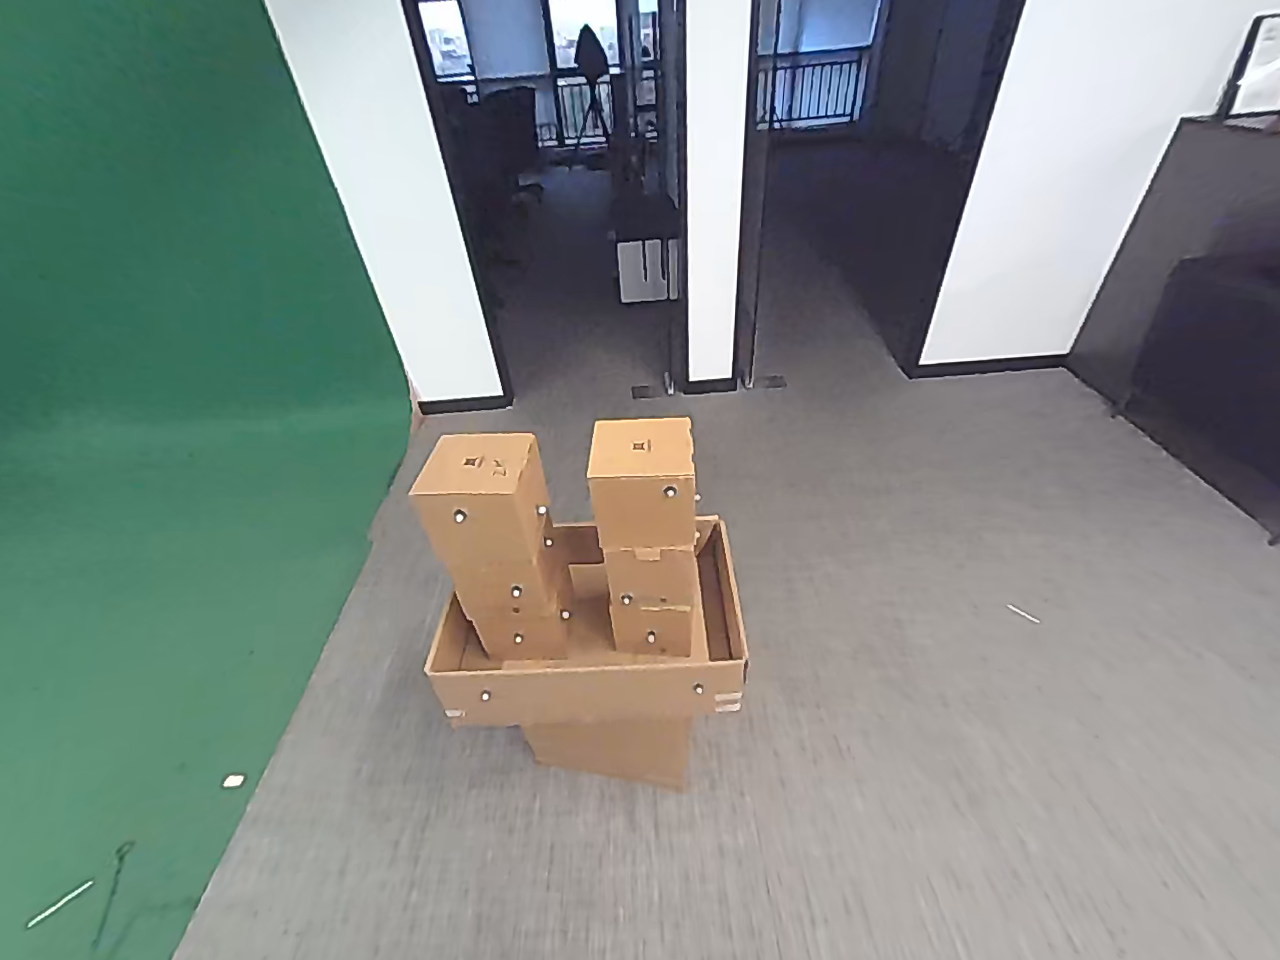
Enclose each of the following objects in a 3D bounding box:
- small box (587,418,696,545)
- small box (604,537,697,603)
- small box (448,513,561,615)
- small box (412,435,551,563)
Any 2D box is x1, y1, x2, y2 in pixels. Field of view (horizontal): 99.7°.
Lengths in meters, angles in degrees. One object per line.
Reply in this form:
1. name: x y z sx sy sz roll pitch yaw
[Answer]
1. small box: 0.010 0.005 0.976 0.179 0.176 0.168 -2 40 4
2. small box: 0.027 0.130 1.079 0.168 0.176 0.179 -2 39 5
3. small box: -0.258 0.157 1.082 0.168 0.176 0.179 -3 40 3
4. small box: -0.271 0.036 0.971 0.179 0.176 0.168 -1 41 5
